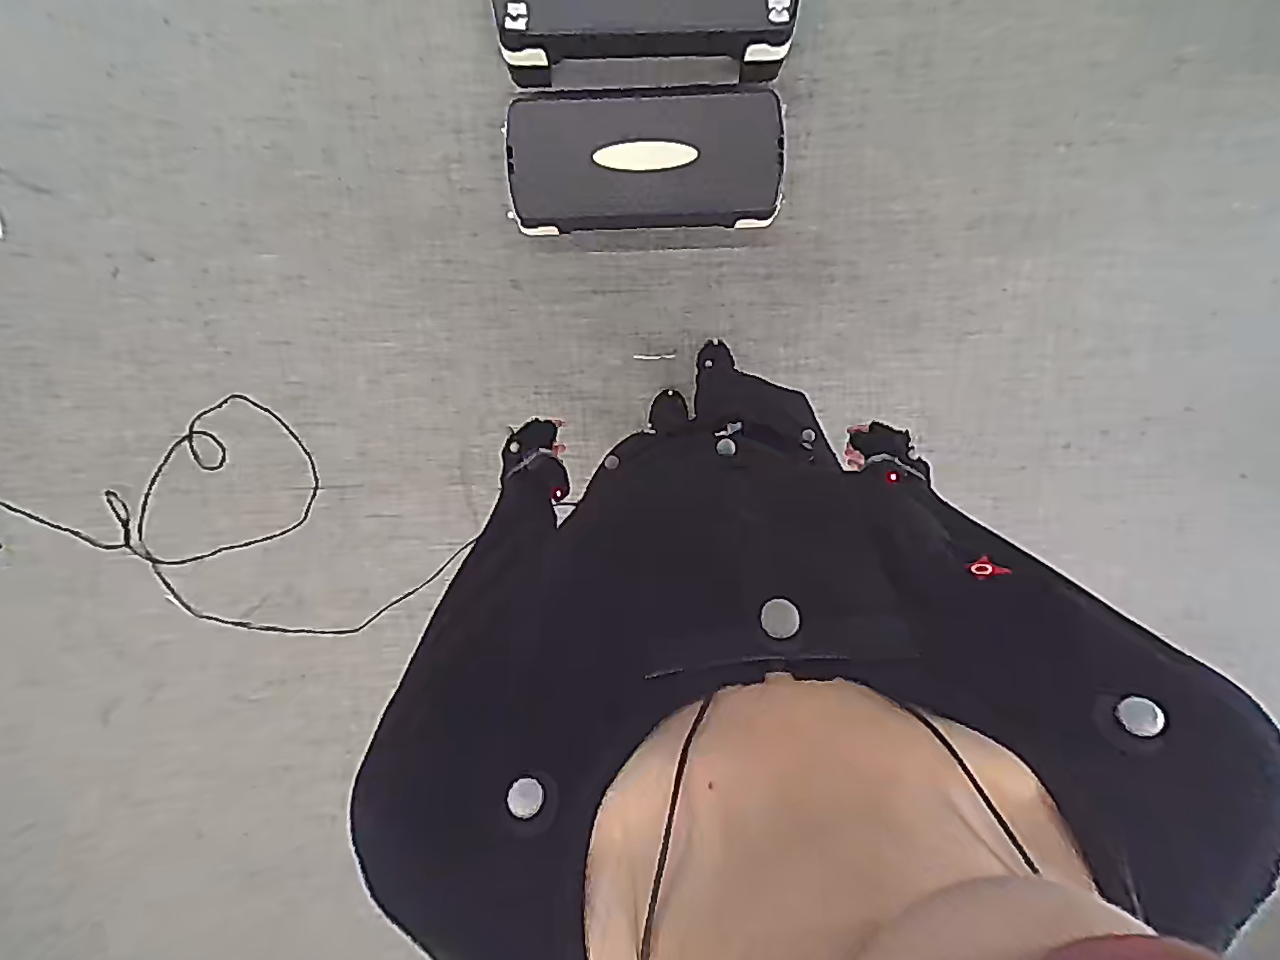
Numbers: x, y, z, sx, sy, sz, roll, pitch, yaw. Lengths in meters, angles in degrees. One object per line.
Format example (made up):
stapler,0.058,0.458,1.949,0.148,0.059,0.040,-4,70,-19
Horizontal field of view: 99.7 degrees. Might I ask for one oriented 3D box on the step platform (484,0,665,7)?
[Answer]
step platform,-0.015,-1.098,1.001,0.684,0.204,0.286,-2,101,1
